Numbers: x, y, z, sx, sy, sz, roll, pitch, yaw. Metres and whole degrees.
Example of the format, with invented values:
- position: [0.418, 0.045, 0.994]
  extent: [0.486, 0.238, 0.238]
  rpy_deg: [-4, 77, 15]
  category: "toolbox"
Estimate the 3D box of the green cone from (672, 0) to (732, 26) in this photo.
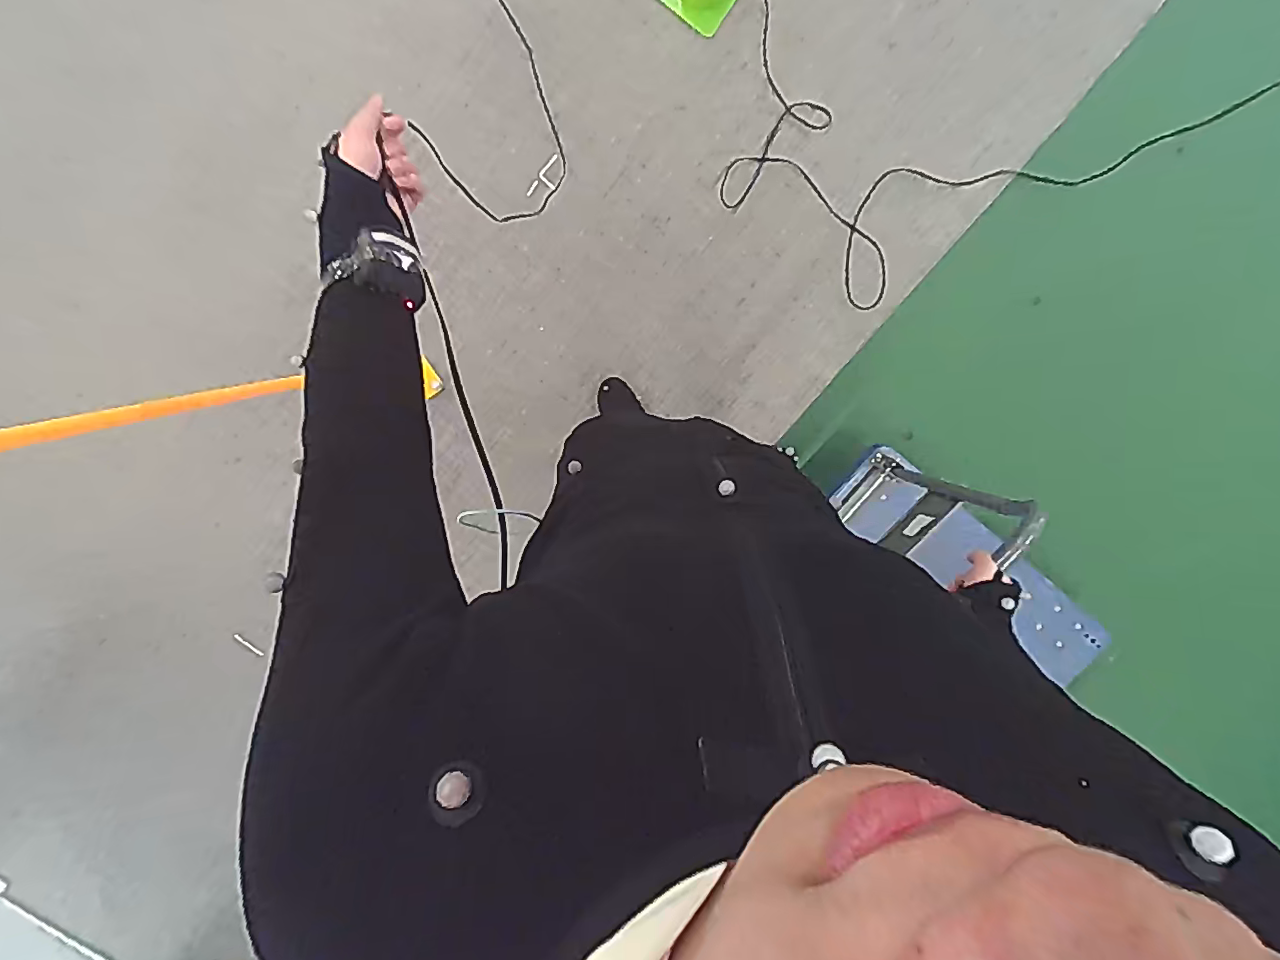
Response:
- position: [0.158, -1.256, 1.193]
  extent: [0.200, 0.368, 0.202]
  rpy_deg: [36, 98, -4]
  category: "green cone"
